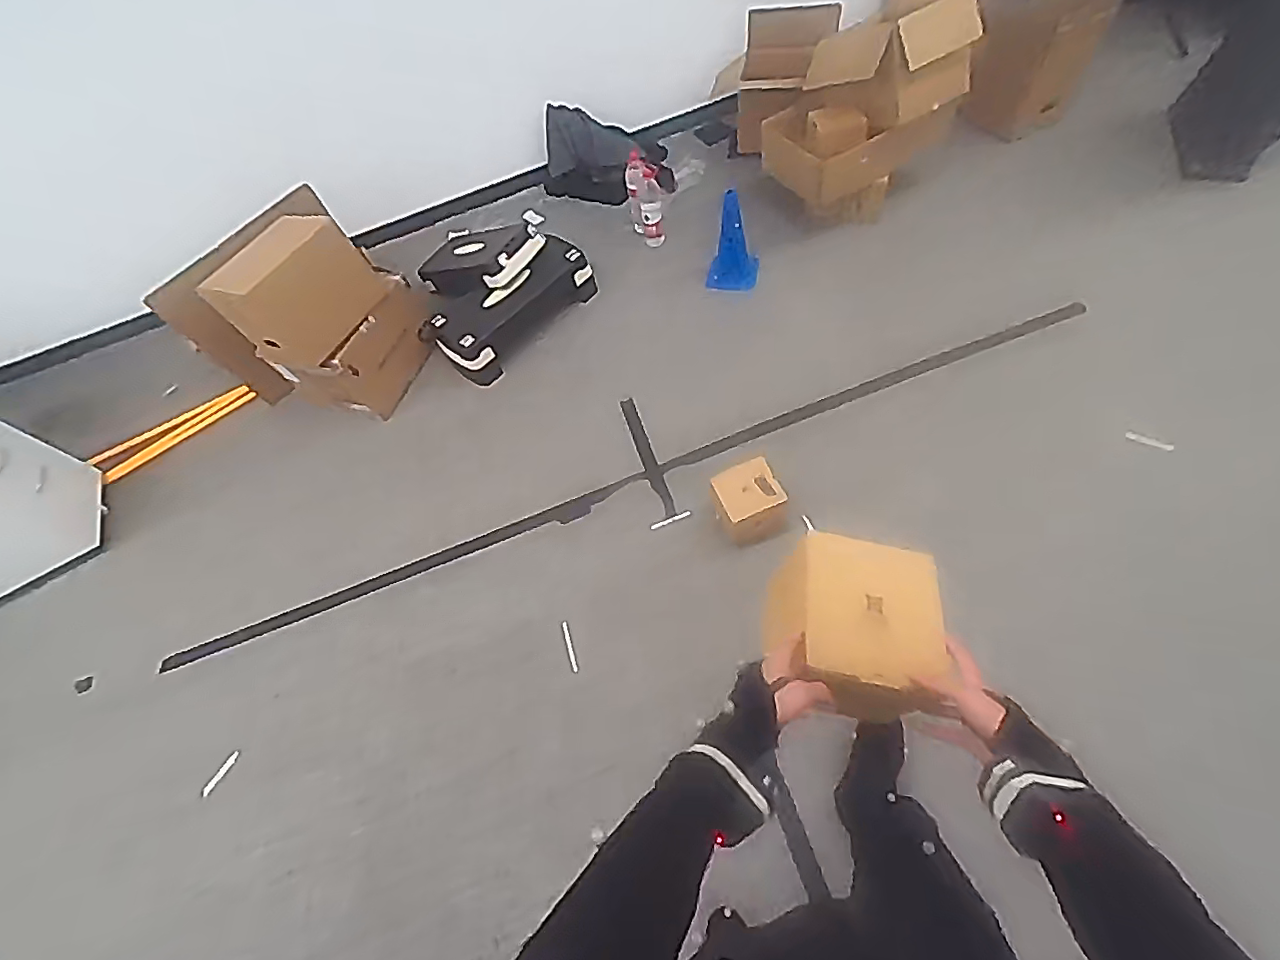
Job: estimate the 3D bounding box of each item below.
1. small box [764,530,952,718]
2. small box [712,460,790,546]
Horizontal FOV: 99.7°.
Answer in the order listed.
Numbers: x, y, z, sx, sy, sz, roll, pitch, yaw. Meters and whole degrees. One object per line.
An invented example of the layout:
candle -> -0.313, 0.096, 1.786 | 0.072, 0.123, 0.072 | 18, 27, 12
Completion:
small box -> 0.266, 0.192, 0.701 | 0.168, 0.176, 0.179 | 11, 58, 0
small box -> 0.330, 0.074, 1.627 | 0.179, 0.176, 0.168 | -23, 59, -1
